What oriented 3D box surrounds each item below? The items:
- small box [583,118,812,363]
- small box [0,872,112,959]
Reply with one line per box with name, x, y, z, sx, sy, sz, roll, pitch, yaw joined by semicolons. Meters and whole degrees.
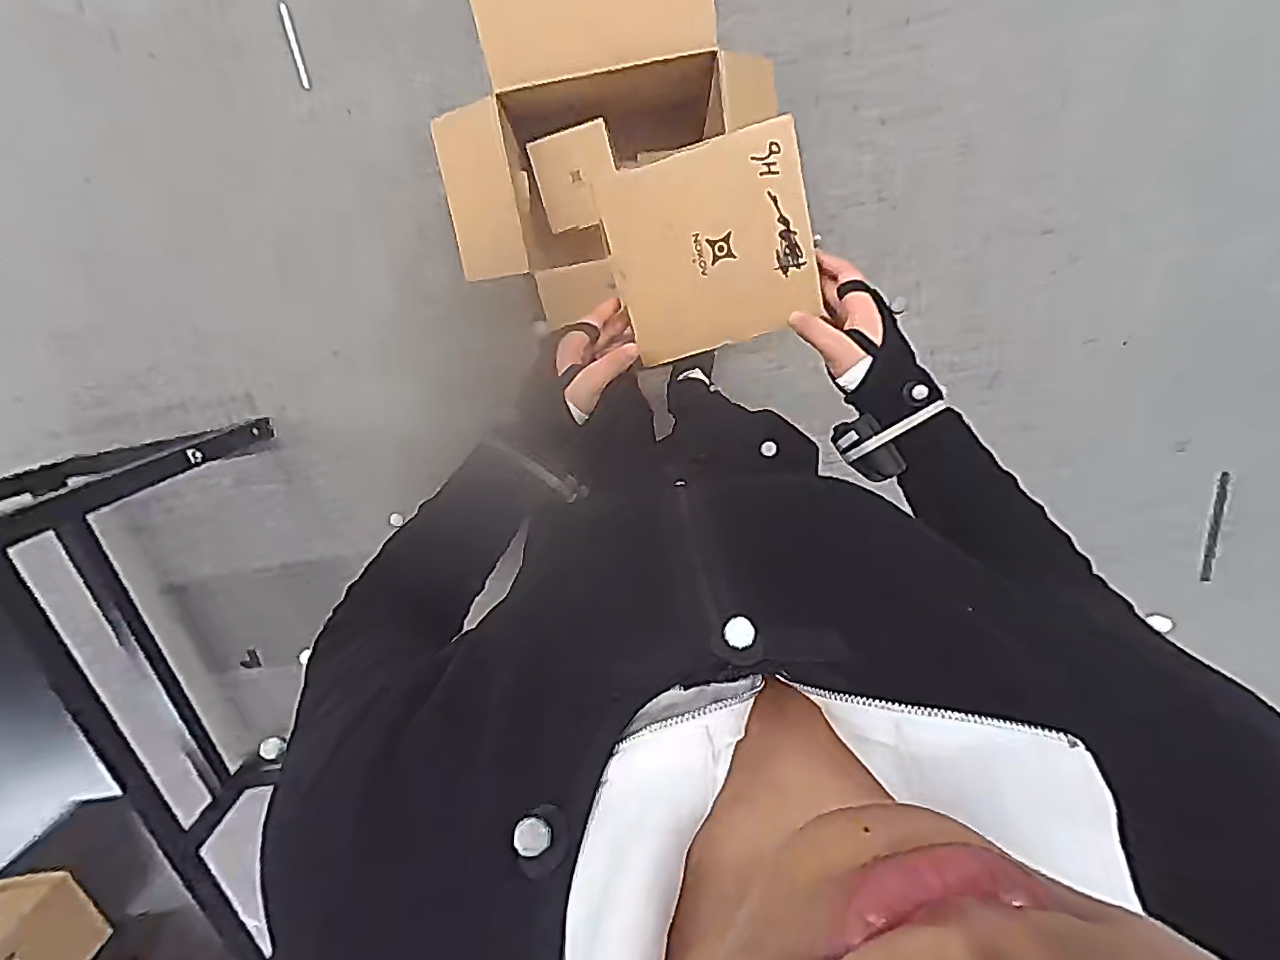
small box;0.058;-0.231;0.554;0.179;0.176;0.168;-15;110;7
small box;-1.123;0.835;0.962;0.168;0.176;0.179;-9;109;4
